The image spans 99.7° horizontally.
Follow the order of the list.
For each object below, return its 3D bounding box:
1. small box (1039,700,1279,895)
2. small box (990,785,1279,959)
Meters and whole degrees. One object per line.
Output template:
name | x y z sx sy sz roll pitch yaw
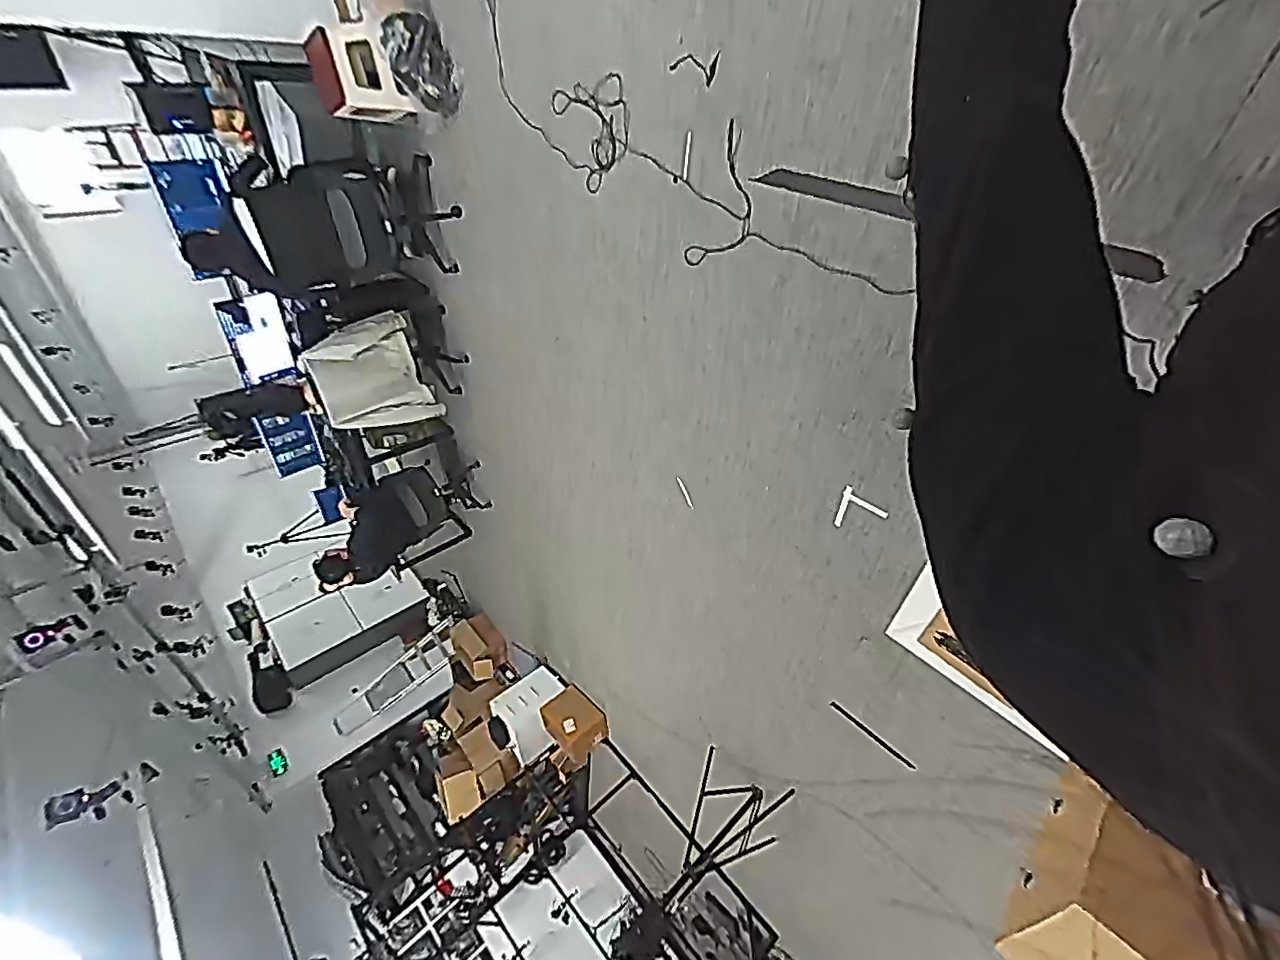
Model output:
small box | 0.639 0.408 0.656 0.168 0.176 0.179 36 139 34
small box | 0.518 0.472 0.568 0.168 0.176 0.179 35 137 33
